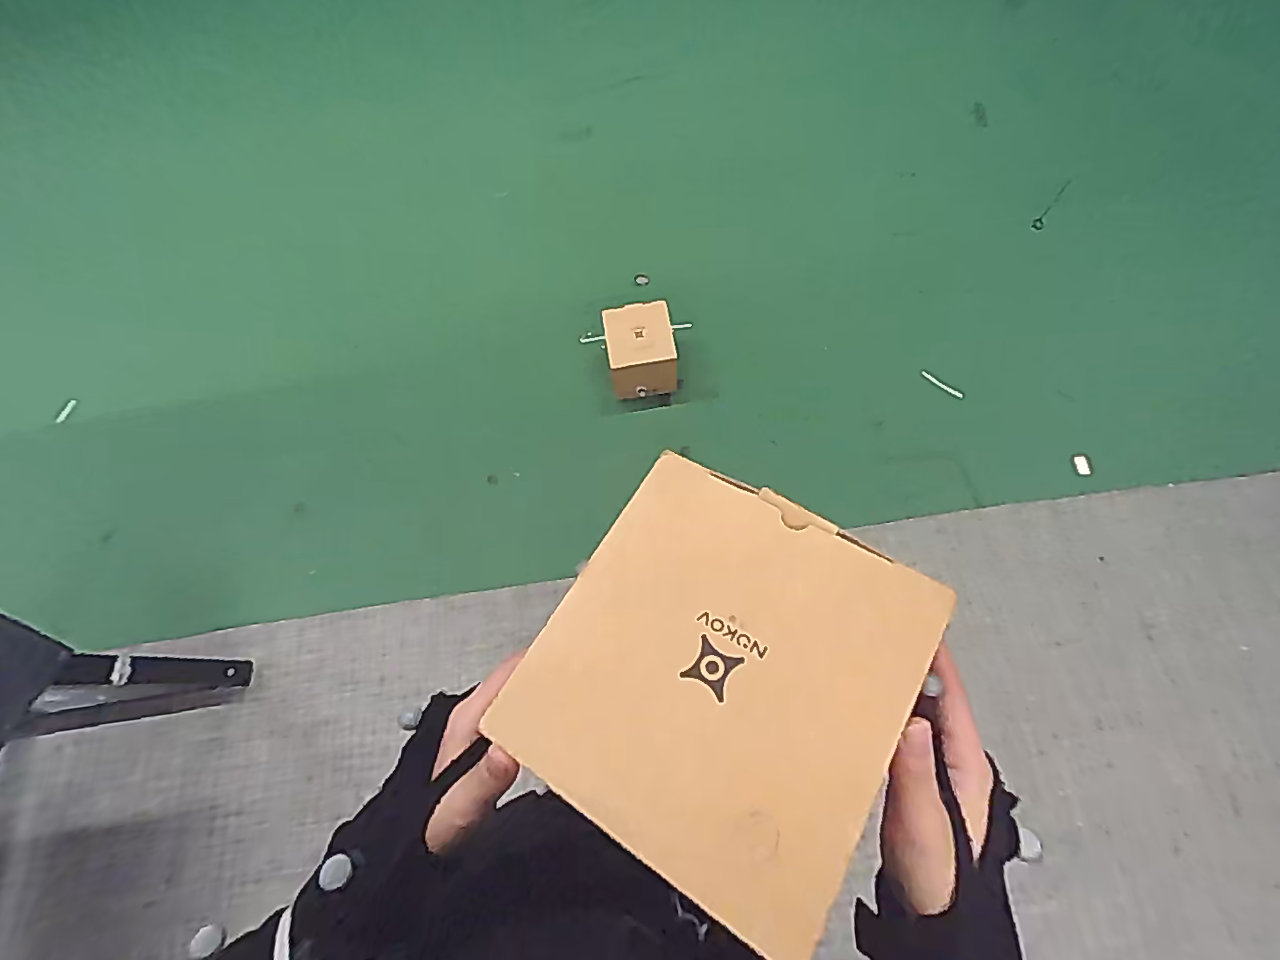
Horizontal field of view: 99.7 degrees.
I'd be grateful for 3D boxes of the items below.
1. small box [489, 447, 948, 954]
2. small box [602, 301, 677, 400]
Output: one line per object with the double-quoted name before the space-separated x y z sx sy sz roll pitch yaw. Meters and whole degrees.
"small box" 0.048 0.117 0.331 0.168 0.176 0.179 27 70 20
"small box" -0.001 -0.330 1.401 0.168 0.176 0.179 -10 70 0
